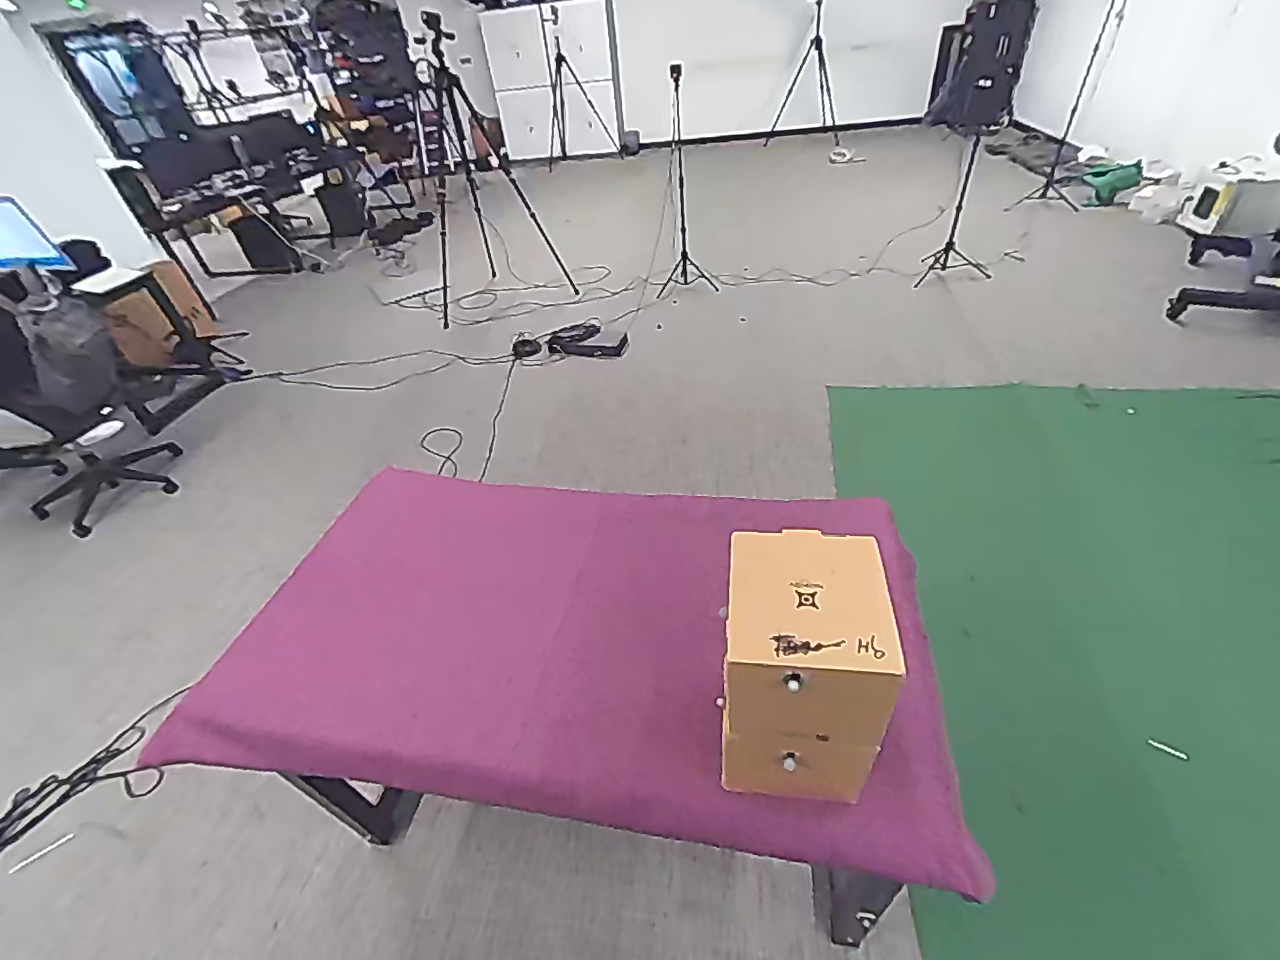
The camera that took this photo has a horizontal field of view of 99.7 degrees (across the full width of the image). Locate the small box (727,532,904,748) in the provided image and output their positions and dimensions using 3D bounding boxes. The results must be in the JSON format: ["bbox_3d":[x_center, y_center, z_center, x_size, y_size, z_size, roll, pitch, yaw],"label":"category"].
[{"bbox_3d":[0.189,0.180,0.627,0.168,0.176,0.179,-1,41,13],"label":"small box"}]

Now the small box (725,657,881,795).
[{"bbox_3d":[0.208,0.305,0.731,0.179,0.176,0.168,-1,41,12],"label":"small box"}]
